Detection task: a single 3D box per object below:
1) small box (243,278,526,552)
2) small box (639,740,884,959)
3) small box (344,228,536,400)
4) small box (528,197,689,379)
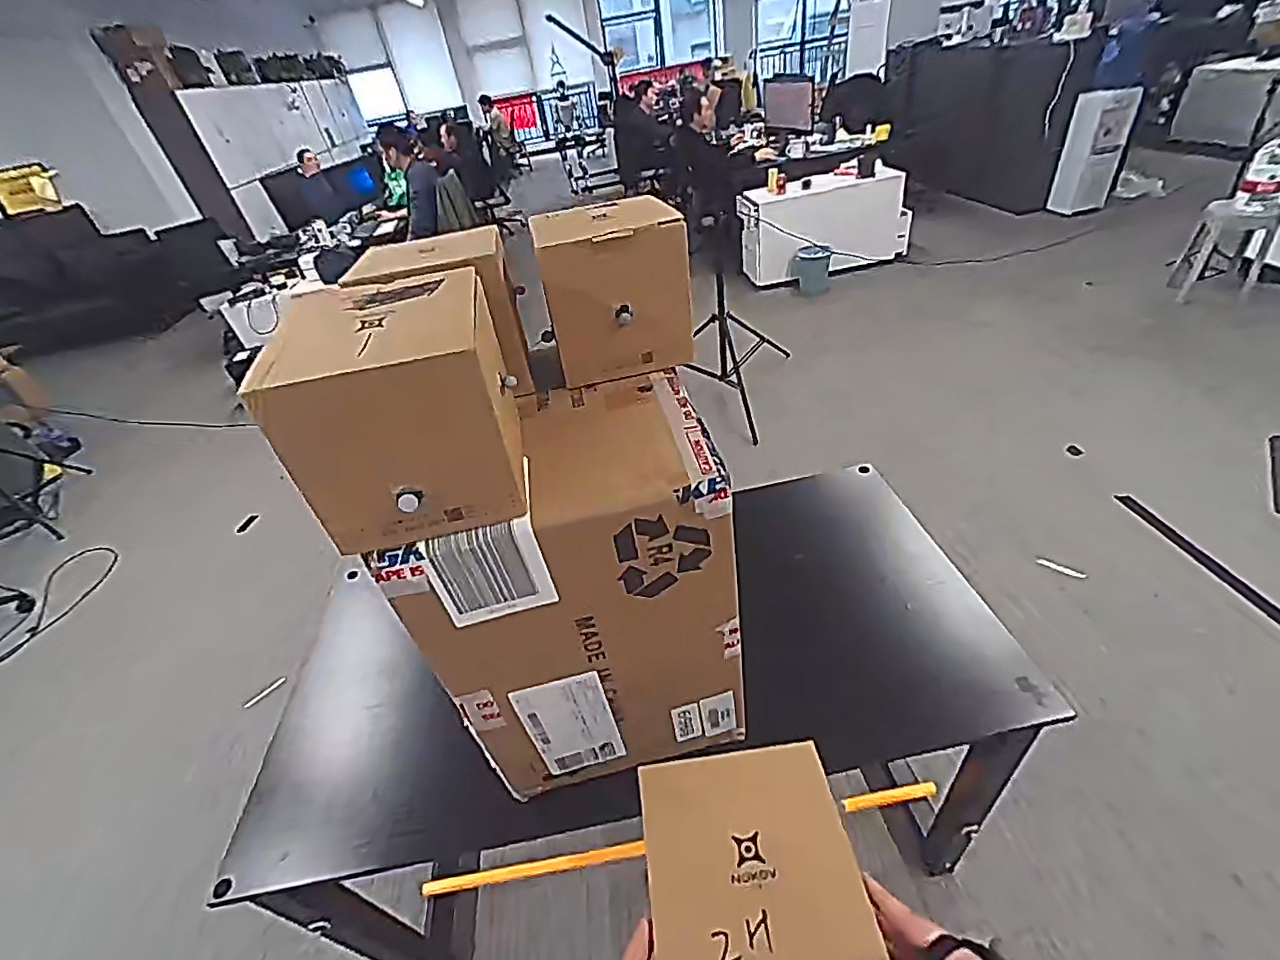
[{"bbox_3d":[-0.206,-0.063,0.495,0.168,0.176,0.179,-13,40,-6],"label":"small box"},{"bbox_3d":[0.092,0.367,0.482,0.168,0.176,0.179,-8,37,0],"label":"small box"},{"bbox_3d":[-0.234,-0.198,0.678,0.168,0.176,0.179,-15,37,-5],"label":"small box"},{"bbox_3d":[-0.039,-0.240,0.686,0.168,0.176,0.179,-12,38,-6],"label":"small box"}]
